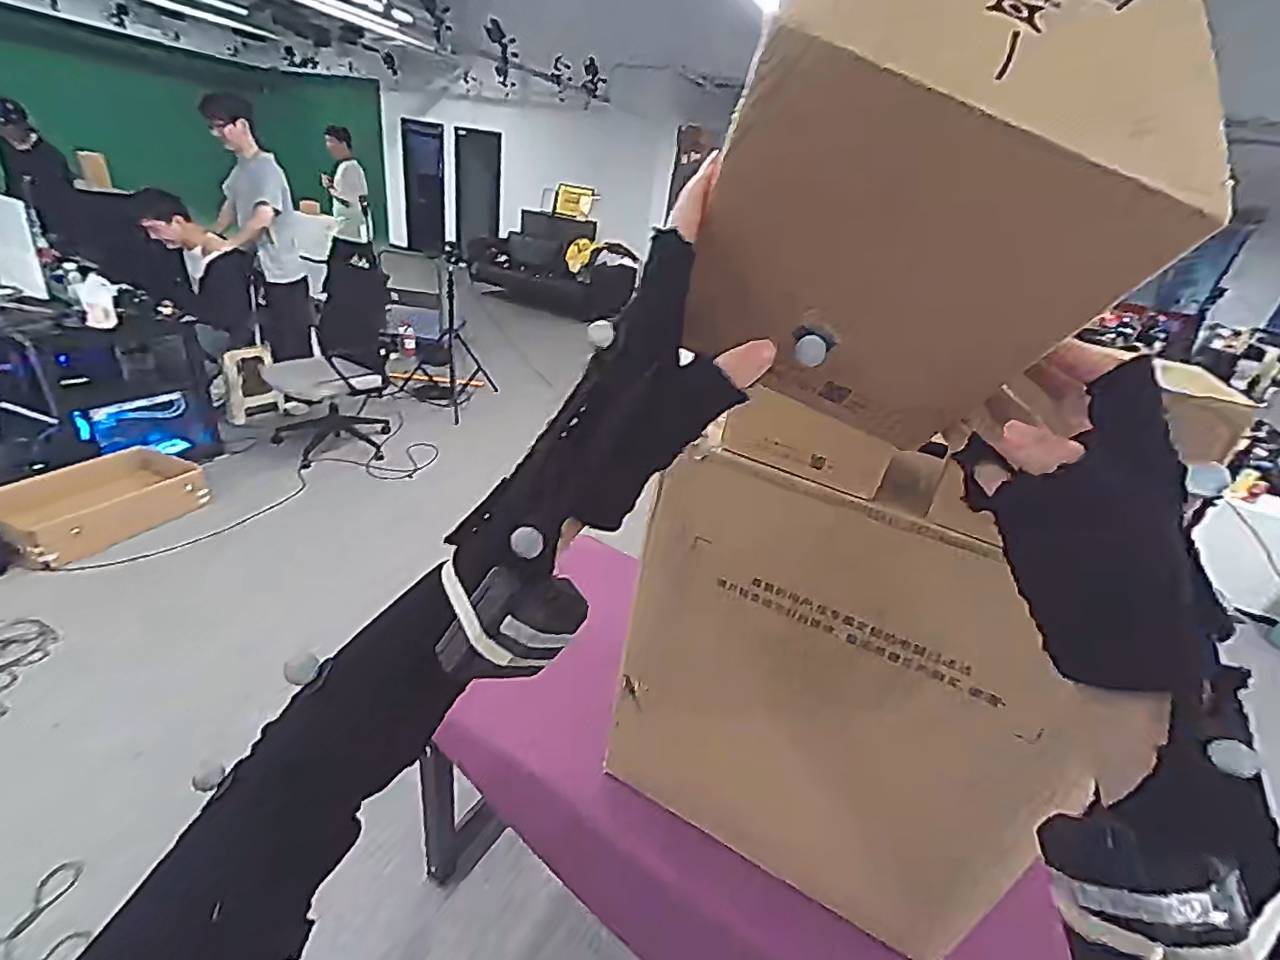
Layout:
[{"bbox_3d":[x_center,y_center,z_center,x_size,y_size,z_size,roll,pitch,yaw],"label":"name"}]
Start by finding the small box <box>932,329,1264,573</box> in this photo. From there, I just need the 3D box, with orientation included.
[{"bbox_3d":[0.394,-0.041,0.506,0.168,0.176,0.179,23,30,24],"label":"small box"}]

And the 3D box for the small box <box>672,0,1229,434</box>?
[{"bbox_3d":[0.131,-0.157,0.283,0.168,0.176,0.179,25,64,1],"label":"small box"}]
